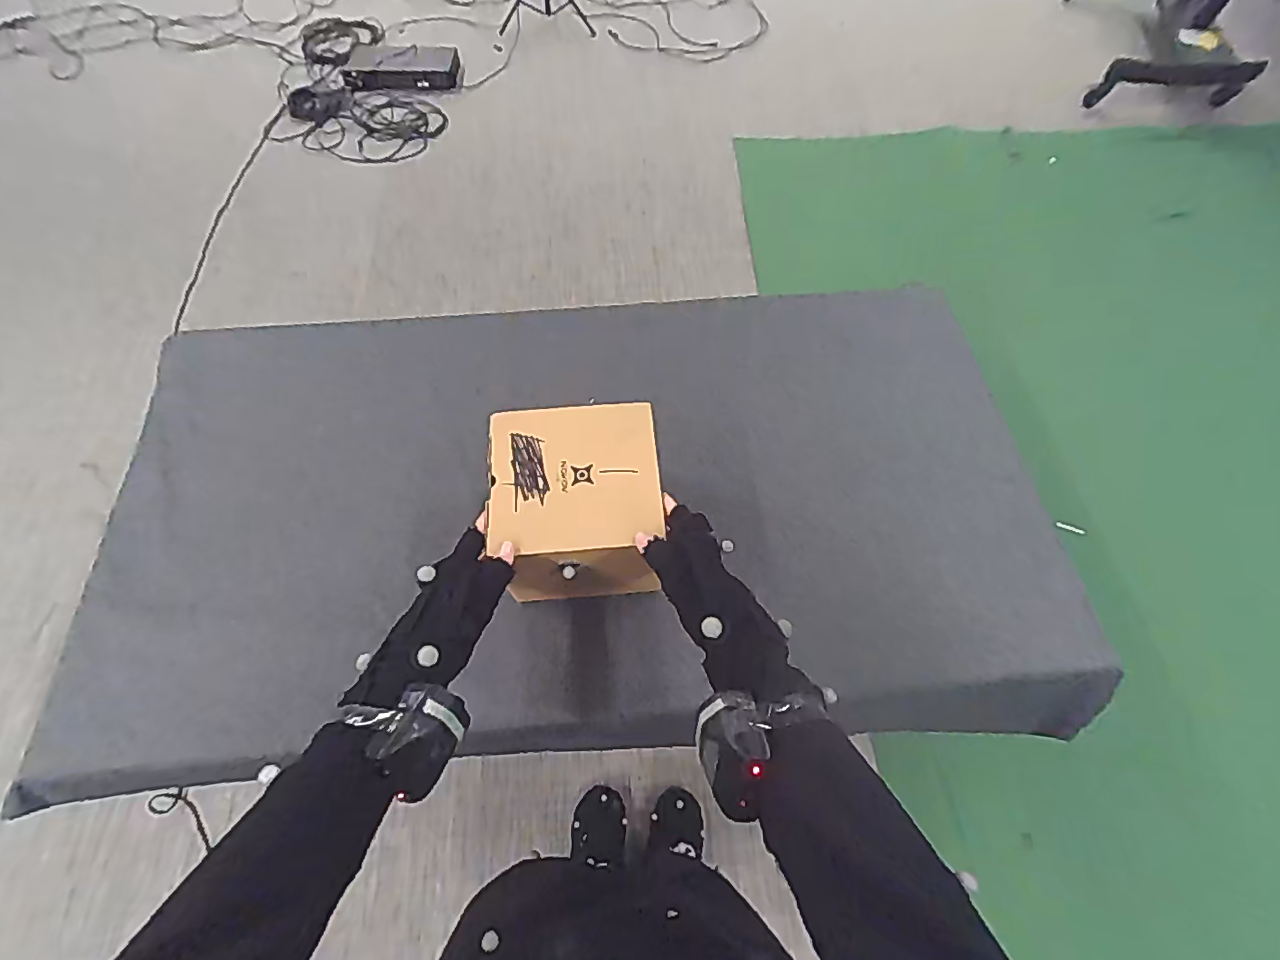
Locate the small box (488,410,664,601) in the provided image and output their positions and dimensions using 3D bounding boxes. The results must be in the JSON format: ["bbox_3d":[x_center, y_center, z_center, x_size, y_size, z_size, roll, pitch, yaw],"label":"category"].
[{"bbox_3d":[-0.067,0.037,0.631,0.179,0.176,0.168,-4,63,-3],"label":"small box"}]
